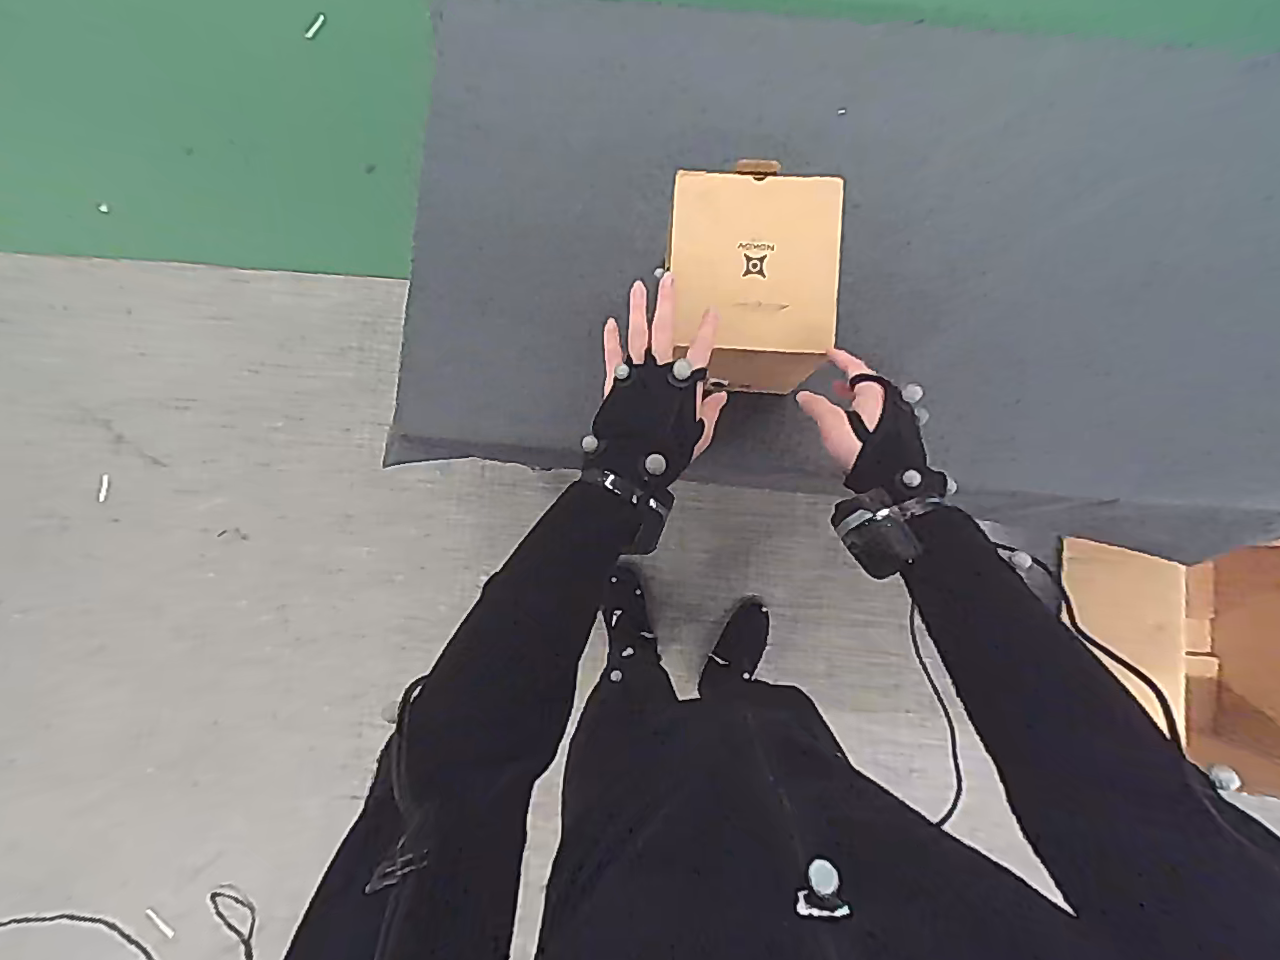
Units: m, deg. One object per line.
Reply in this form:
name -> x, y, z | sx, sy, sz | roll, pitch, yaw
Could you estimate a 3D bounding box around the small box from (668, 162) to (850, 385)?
small box -> 0.119, -0.214, 0.600 | 0.168, 0.176, 0.179 | 3, 87, 1
